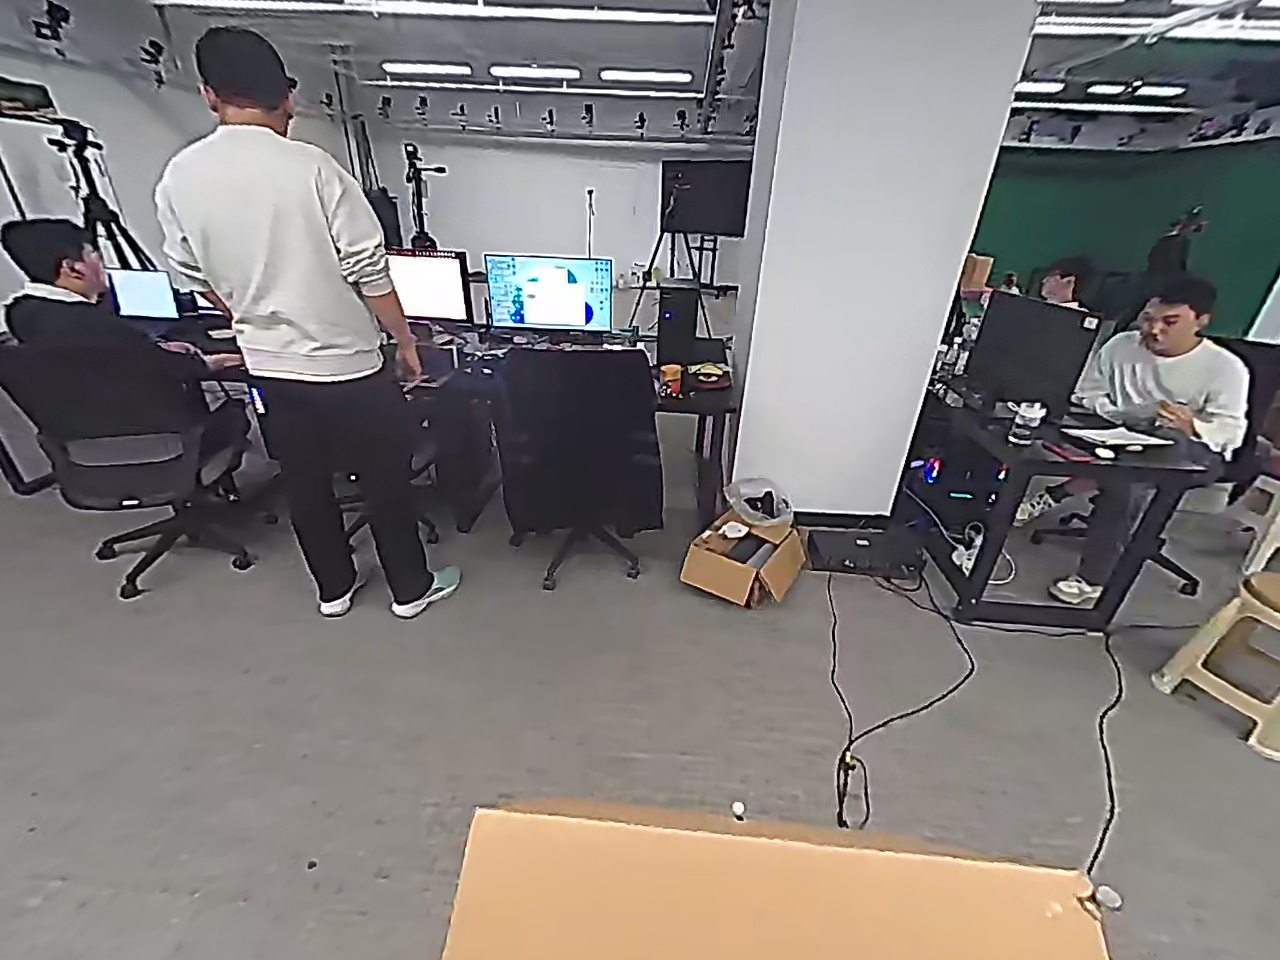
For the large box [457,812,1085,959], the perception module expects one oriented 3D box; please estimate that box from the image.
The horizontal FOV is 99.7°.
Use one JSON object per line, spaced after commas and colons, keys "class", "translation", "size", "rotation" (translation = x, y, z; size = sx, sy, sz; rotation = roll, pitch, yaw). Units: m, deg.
{"class": "large box", "translation": [0.077, 0.458, 0.429], "size": [0.408, 0.320, 0.320], "rotation": [3, 62, 3]}
